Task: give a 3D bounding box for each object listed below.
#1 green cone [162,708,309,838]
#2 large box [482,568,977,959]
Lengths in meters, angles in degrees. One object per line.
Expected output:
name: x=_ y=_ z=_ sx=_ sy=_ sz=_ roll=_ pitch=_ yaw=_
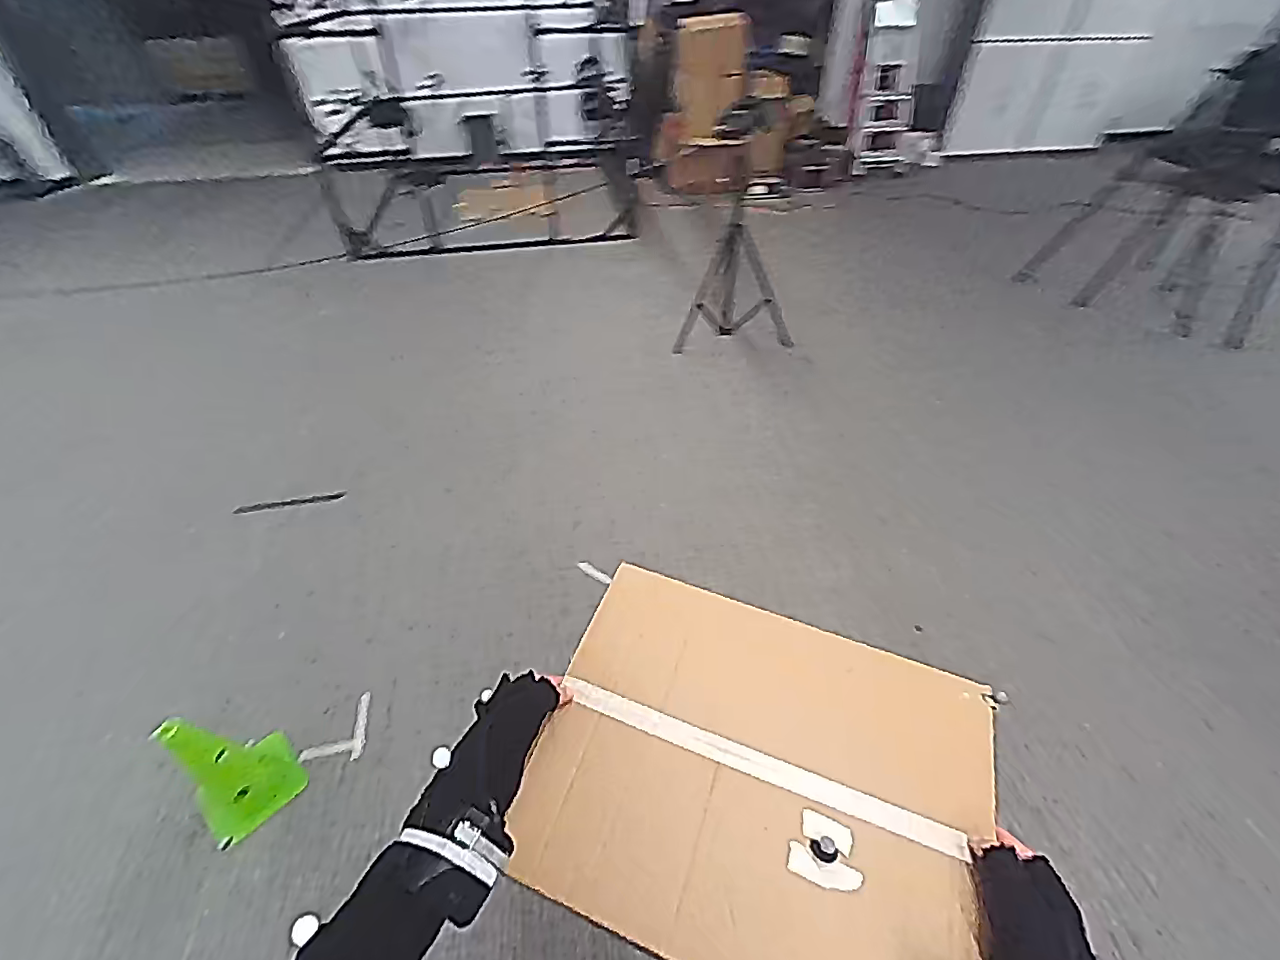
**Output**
green cone: x=-0.968 y=0.629 z=1.250 sx=0.202 sy=0.368 sz=0.200 roll=31 pitch=51 yaw=31
large box: x=0.097 y=0.359 z=0.617 sx=0.408 sy=0.320 sz=0.320 roll=16 pitch=51 yaw=13
